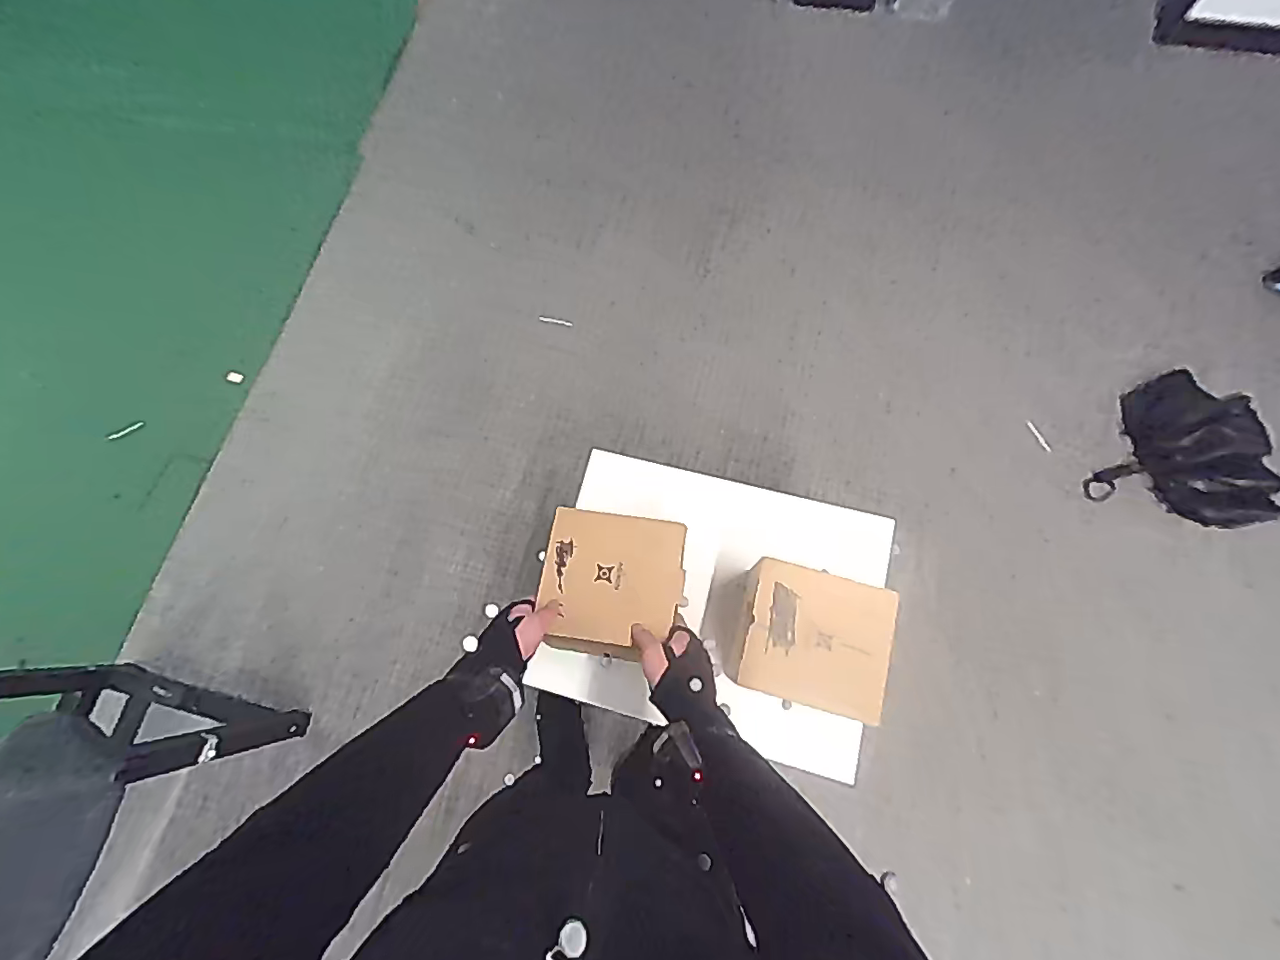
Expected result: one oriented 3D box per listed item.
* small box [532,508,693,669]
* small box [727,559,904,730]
[{"bbox_3d":[-0.033,0.155,0.731,0.179,0.176,0.168,8,64,1],"label":"small box"},{"bbox_3d":[0.227,0.221,0.739,0.179,0.176,0.168,15,75,5],"label":"small box"}]
